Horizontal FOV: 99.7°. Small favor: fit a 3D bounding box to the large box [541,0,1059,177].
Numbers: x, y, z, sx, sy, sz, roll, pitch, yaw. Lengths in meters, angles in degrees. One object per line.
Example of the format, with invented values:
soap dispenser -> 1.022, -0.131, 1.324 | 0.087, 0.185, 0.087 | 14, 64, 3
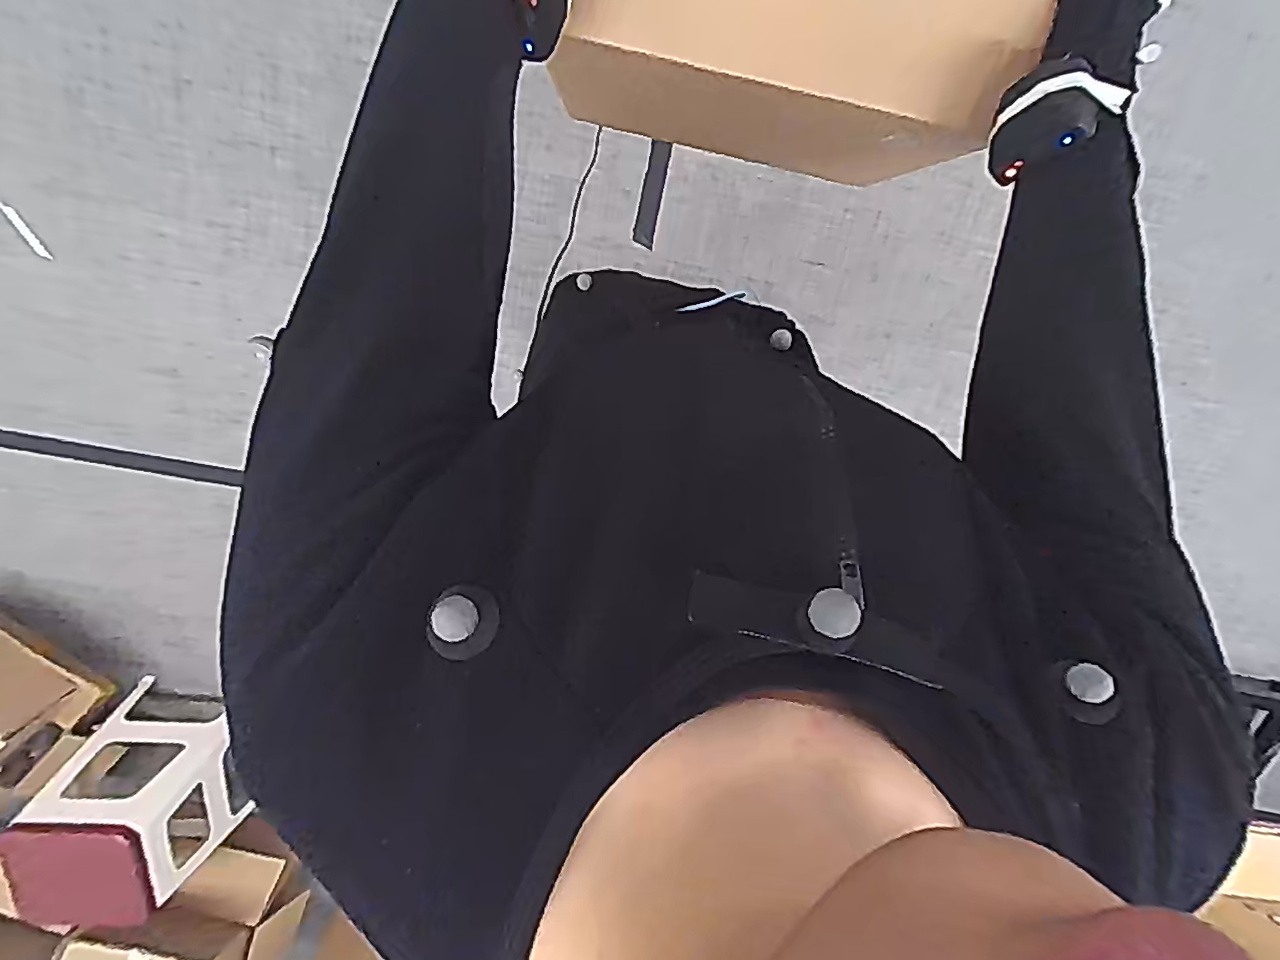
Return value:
large box -> 0.140, -0.519, 0.516 | 0.408, 0.320, 0.320 | 10, 113, -5
